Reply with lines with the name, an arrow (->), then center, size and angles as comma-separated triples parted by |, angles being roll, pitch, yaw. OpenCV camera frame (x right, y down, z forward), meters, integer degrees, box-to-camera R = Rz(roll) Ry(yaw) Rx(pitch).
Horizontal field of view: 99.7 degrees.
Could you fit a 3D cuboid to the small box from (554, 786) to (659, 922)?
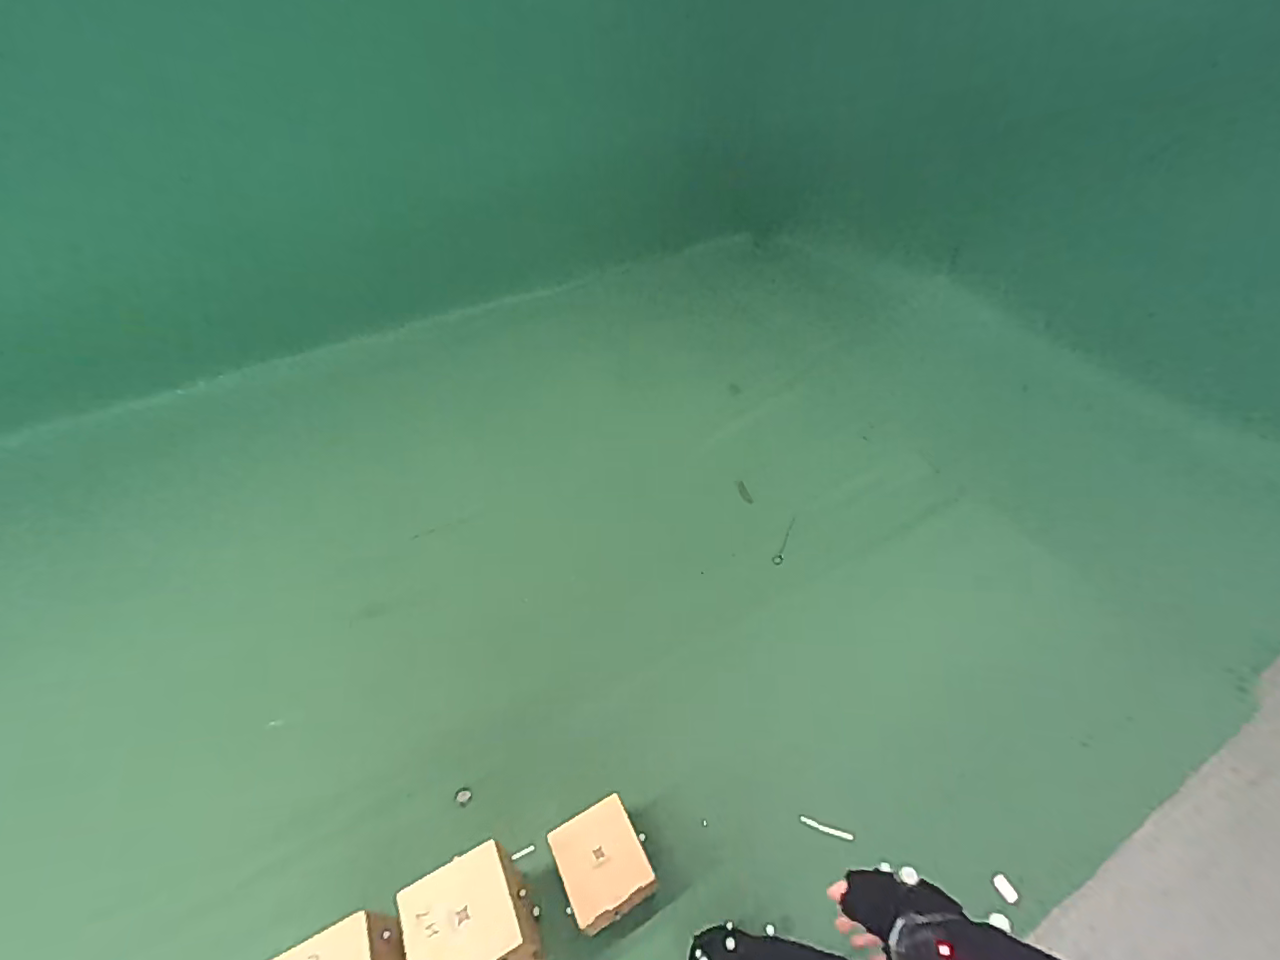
small box -> -0.072, 0.808, 1.165 | 0.168, 0.176, 0.179 | -23, 51, -18
